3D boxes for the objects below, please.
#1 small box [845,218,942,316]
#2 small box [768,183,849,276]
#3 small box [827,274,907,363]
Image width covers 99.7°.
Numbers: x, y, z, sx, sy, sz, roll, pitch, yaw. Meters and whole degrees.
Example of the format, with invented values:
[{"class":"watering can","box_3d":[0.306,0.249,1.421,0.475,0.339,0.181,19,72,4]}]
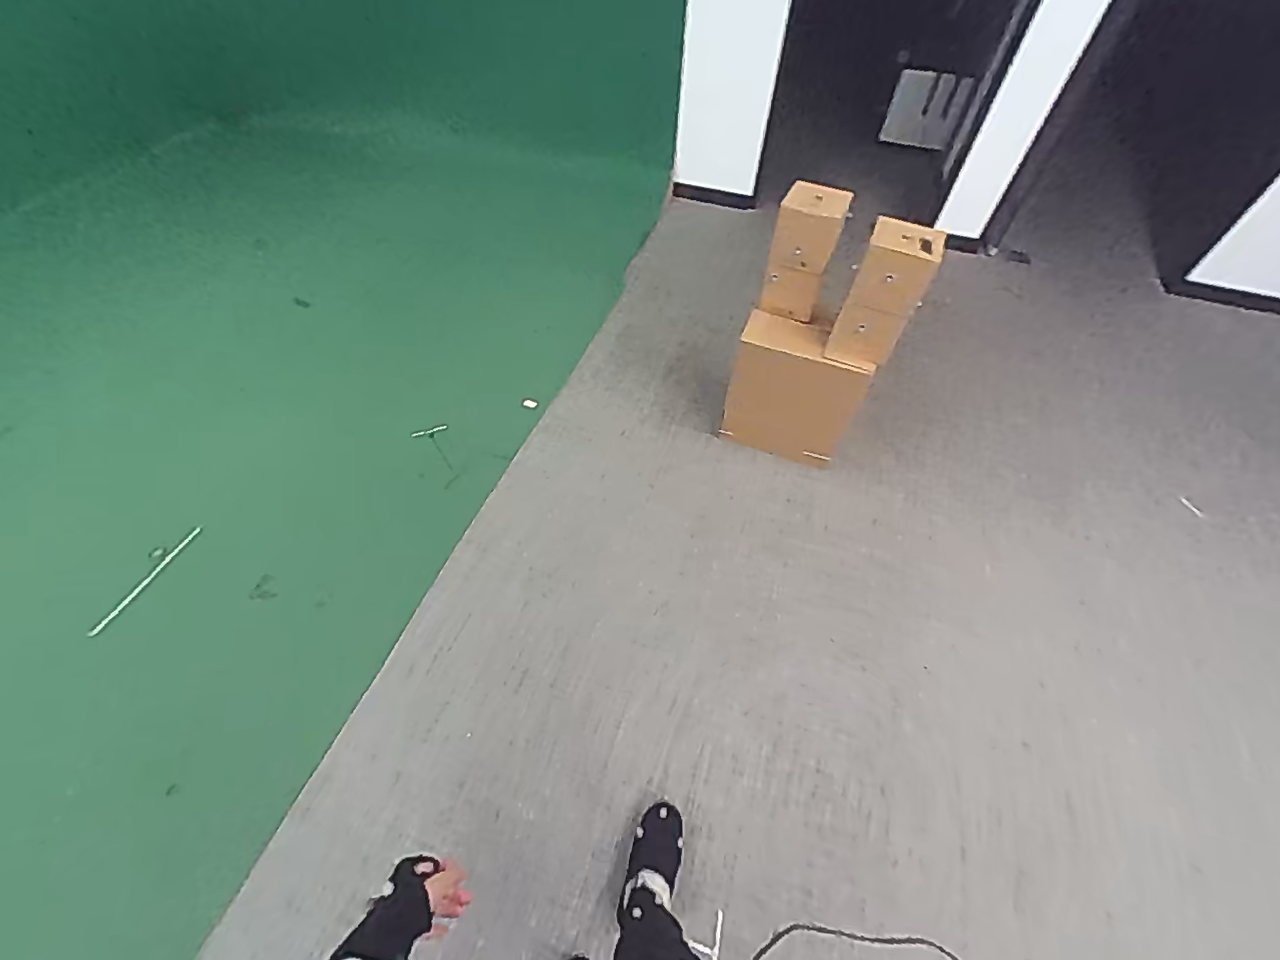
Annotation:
[{"class":"small box","box_3d":[0.678,-0.568,1.454,0.179,0.176,0.168,20,55,13]},{"class":"small box","box_3d":[0.485,-0.725,1.570,0.168,0.176,0.179,21,55,15]},{"class":"small box","box_3d":[0.668,-0.470,1.585,0.179,0.176,0.168,19,56,13]}]
